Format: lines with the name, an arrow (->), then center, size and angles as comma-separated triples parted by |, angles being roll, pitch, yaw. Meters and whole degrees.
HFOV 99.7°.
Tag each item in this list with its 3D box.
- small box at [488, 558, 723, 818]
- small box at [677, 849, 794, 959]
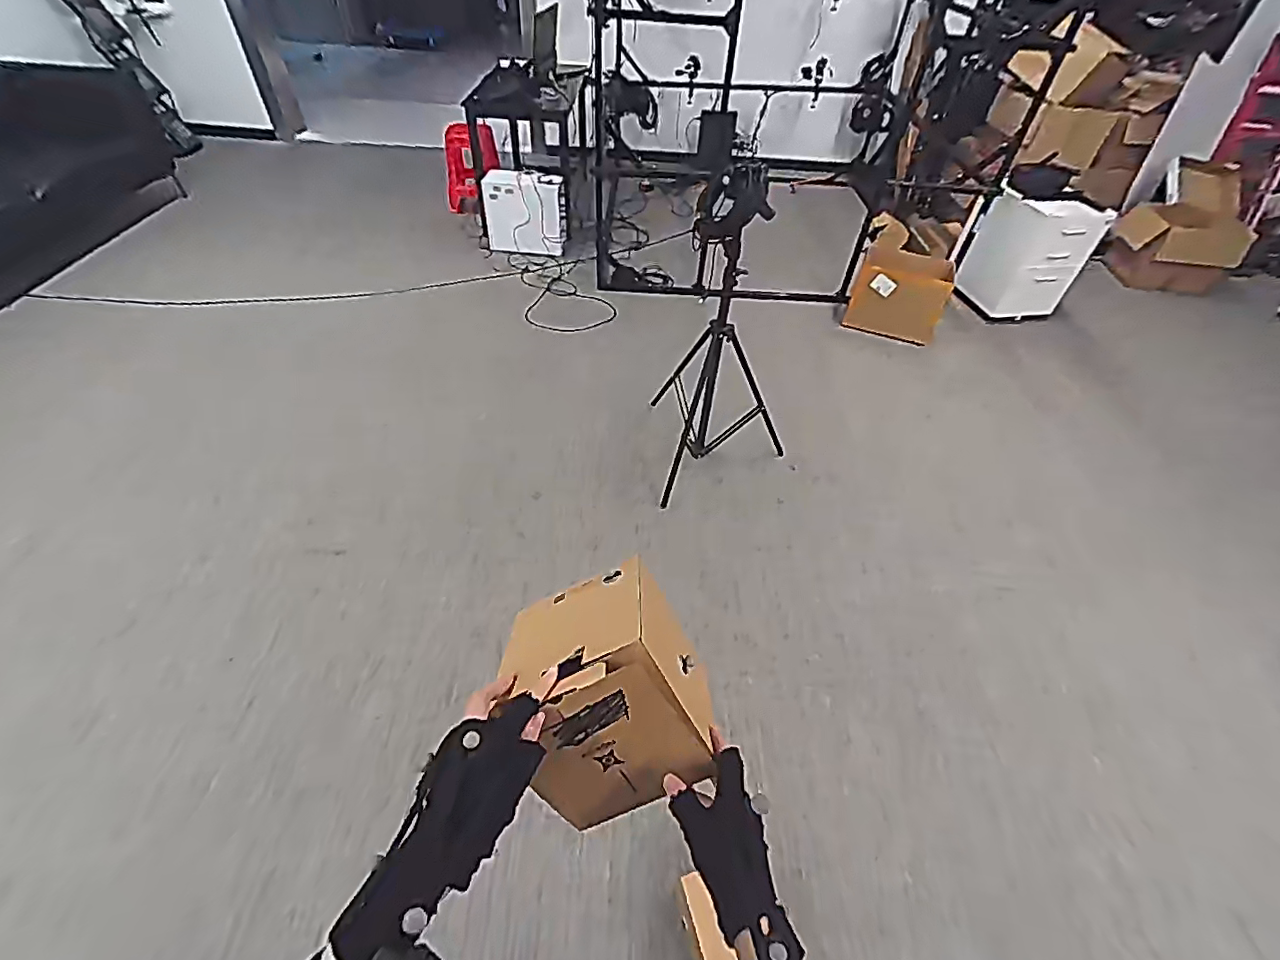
small box -> -0.032, 0.206, 0.581 | 0.168, 0.179, 0.176 | -28, 18, 9
small box -> 0.189, 0.907, 1.130 | 0.179, 0.176, 0.168 | -12, 47, -14
